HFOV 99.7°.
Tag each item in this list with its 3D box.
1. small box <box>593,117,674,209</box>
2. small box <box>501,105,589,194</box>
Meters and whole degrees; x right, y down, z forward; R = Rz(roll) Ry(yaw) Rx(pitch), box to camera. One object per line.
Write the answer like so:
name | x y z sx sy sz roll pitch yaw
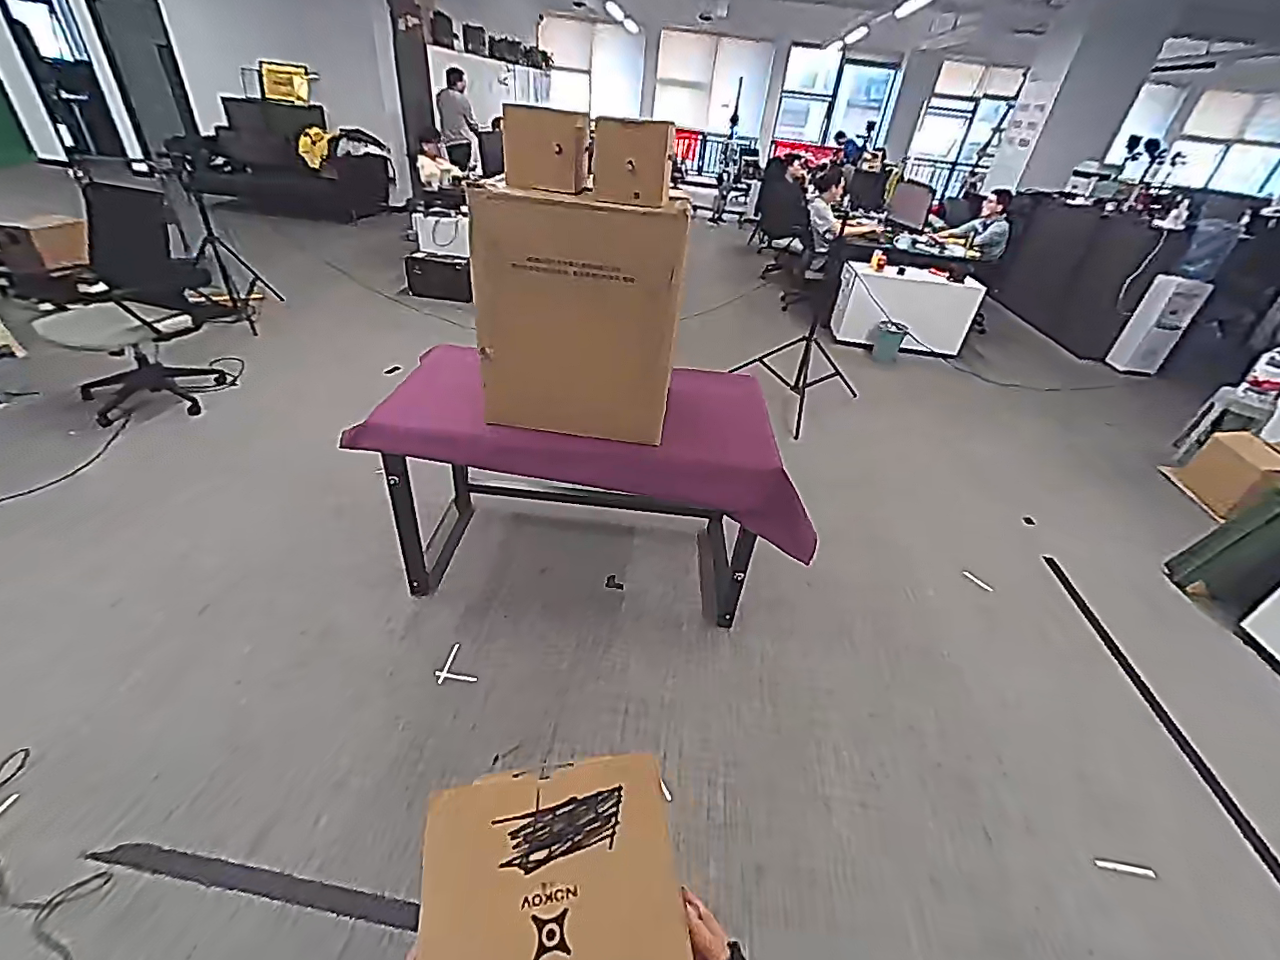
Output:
small box | -0.015 -0.749 1.276 0.168 0.176 0.179 8 35 3
small box | -0.227 -0.808 1.326 0.179 0.176 0.168 7 34 2
